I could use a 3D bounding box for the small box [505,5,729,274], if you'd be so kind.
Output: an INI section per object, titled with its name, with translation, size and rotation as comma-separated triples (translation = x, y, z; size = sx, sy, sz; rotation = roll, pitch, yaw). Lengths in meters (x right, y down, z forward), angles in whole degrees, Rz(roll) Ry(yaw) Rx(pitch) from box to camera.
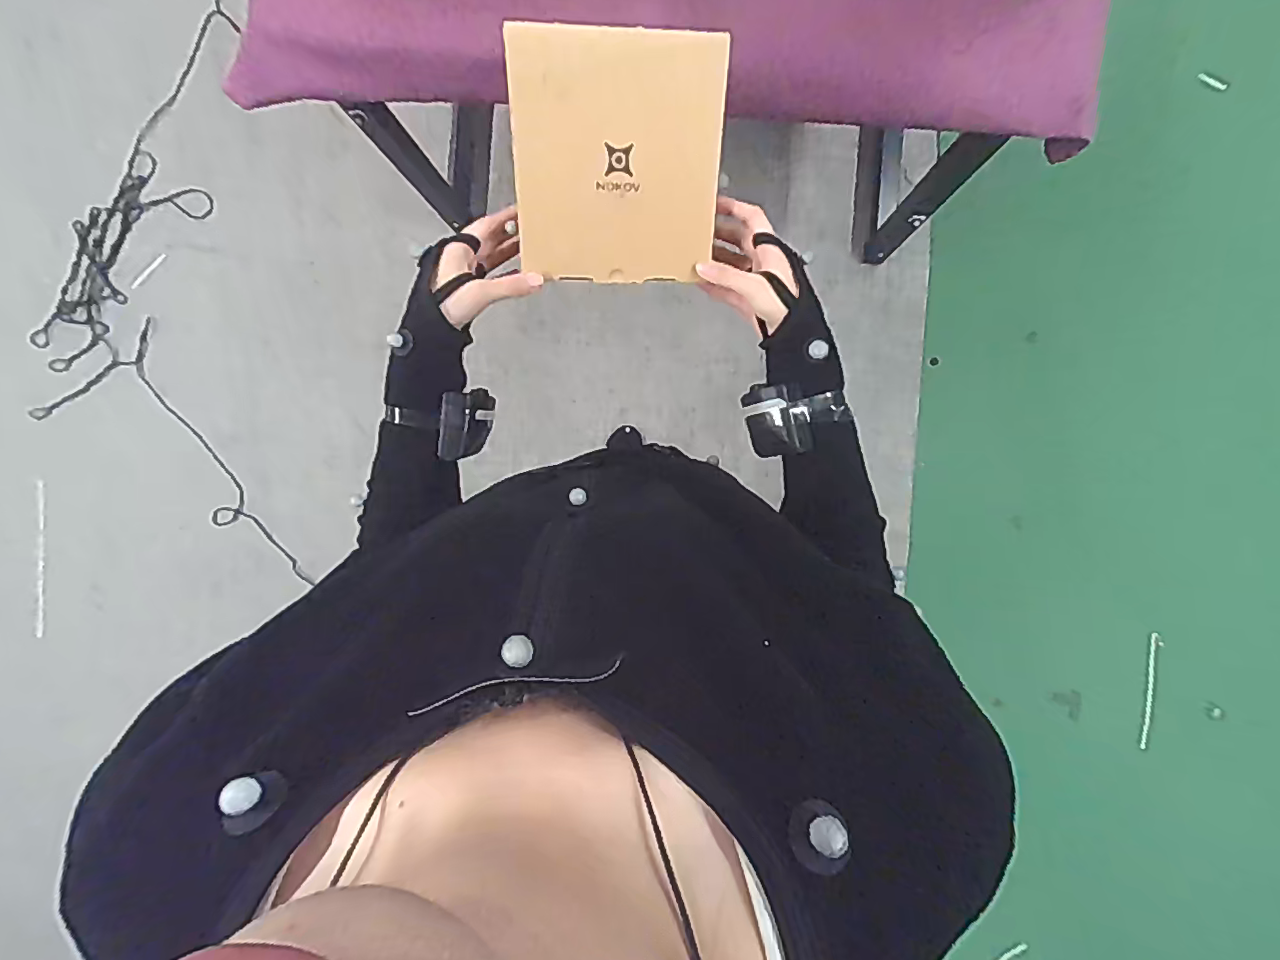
[small box]
translation = -0.027, -0.294, 0.494
size = 0.168, 0.176, 0.179
rotation = -1, 120, -6
